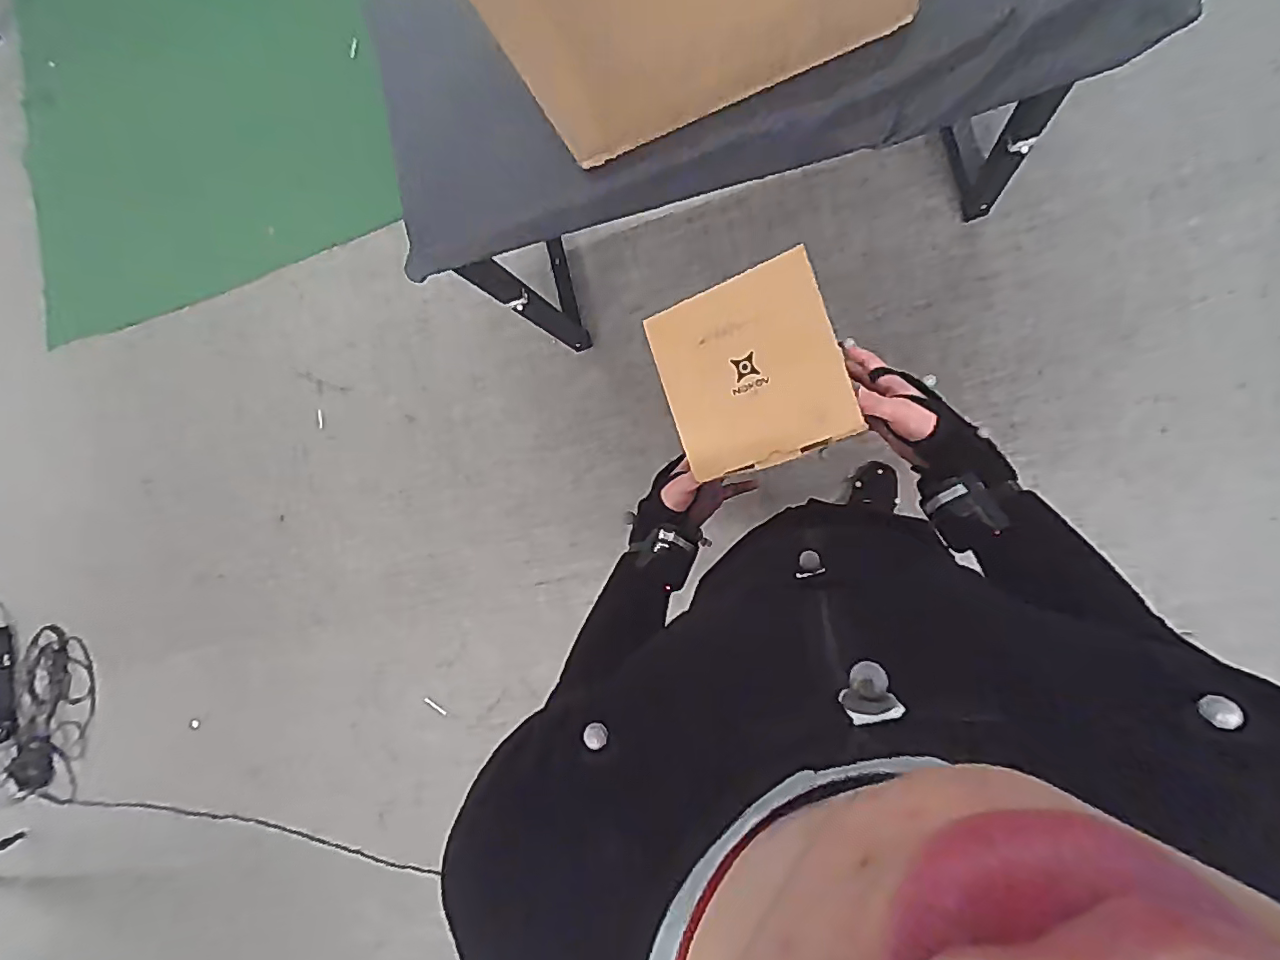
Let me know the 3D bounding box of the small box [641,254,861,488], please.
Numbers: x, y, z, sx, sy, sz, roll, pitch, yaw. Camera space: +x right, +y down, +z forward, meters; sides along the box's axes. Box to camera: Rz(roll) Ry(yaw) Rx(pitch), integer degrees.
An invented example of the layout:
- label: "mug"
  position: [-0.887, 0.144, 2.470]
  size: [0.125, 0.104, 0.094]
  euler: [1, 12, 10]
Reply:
- label: "small box"
  position: [0.128, -0.103, 0.578]
  size: [0.168, 0.176, 0.179]
  euler: [-20, 86, 23]
